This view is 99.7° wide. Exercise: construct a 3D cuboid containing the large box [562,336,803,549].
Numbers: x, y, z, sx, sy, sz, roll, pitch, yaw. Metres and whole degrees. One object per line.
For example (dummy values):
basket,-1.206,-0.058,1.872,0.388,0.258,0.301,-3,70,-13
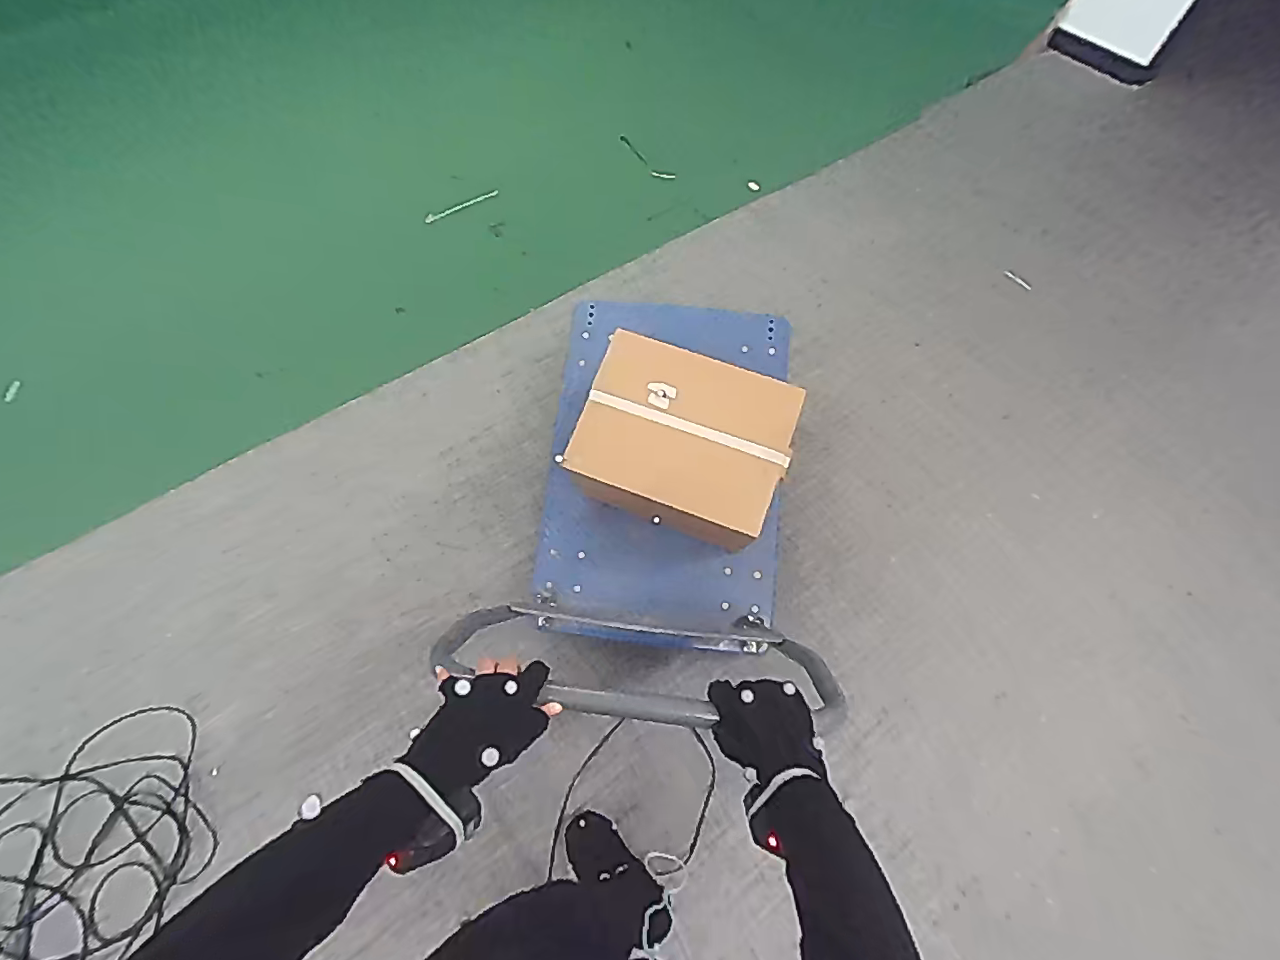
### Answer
large box,0.096,-0.063,1.198,0.408,0.320,0.320,20,79,8
